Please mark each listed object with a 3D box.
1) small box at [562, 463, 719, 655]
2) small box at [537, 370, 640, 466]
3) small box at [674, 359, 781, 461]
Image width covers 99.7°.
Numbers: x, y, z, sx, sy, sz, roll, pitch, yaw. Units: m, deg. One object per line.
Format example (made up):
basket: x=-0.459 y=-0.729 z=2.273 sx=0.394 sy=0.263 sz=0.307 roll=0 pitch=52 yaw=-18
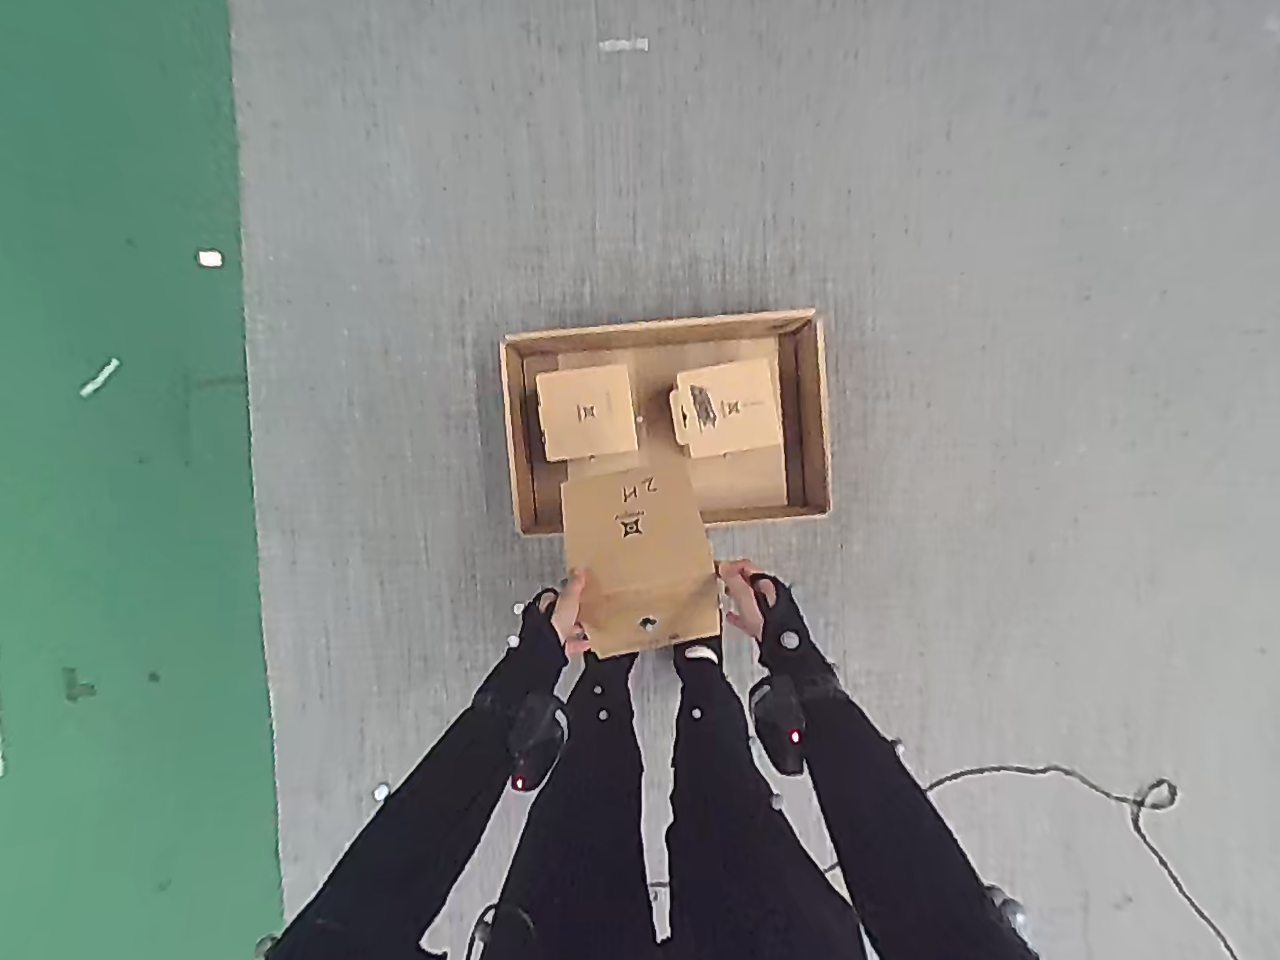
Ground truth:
small box: x=0.003 y=0.110 z=0.703 sx=0.168 sy=0.176 sz=0.179 roll=-13 pitch=49 yaw=1
small box: x=-0.097 y=-0.119 z=1.097 sx=0.179 sy=0.176 sz=0.168 roll=-8 pitch=93 yaw=1
small box: x=0.168 y=-0.133 z=1.089 sx=0.179 sy=0.176 sz=0.168 roll=-11 pitch=92 yaw=2
